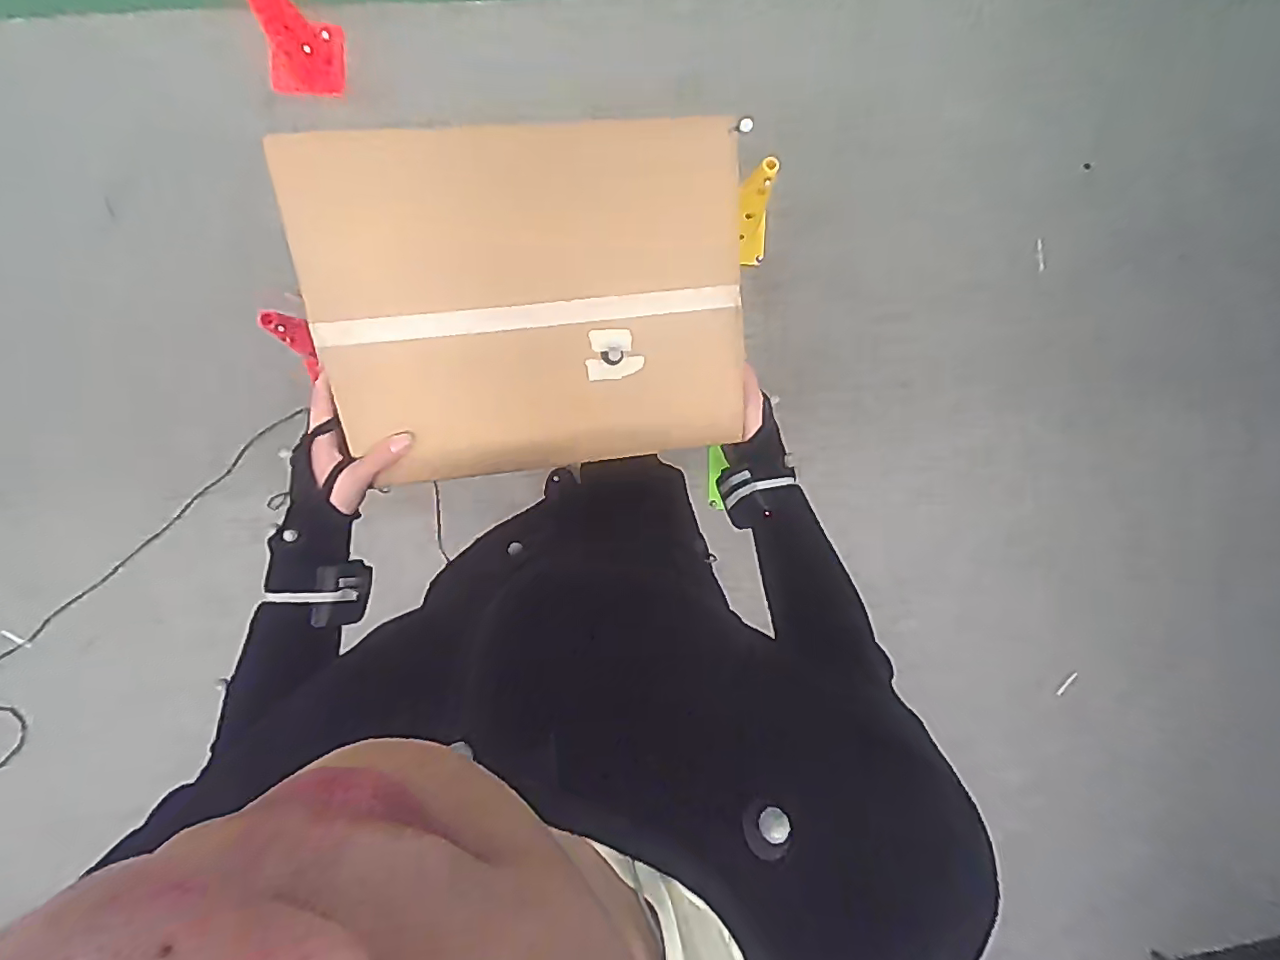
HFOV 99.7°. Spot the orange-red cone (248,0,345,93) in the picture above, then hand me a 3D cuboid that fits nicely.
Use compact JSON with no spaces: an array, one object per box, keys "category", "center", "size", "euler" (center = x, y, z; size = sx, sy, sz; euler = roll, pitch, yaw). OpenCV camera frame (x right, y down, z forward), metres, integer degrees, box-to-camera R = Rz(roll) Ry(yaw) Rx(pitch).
[{"category":"orange-red cone","center":[-0.922,-1.187,1.346],"size":[0.199,0.360,0.198],"euler":[1,90,-4]}]

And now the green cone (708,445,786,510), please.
[{"category":"green cone","center":[0.326,-0.008,1.498],"size":[0.200,0.368,0.202],"euler":[-1,90,-6]}]

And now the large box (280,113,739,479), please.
[{"category":"large box","center":[-0.124,-0.219,0.666],"size":[0.408,0.320,0.320],"euler":[-8,111,-9]}]
